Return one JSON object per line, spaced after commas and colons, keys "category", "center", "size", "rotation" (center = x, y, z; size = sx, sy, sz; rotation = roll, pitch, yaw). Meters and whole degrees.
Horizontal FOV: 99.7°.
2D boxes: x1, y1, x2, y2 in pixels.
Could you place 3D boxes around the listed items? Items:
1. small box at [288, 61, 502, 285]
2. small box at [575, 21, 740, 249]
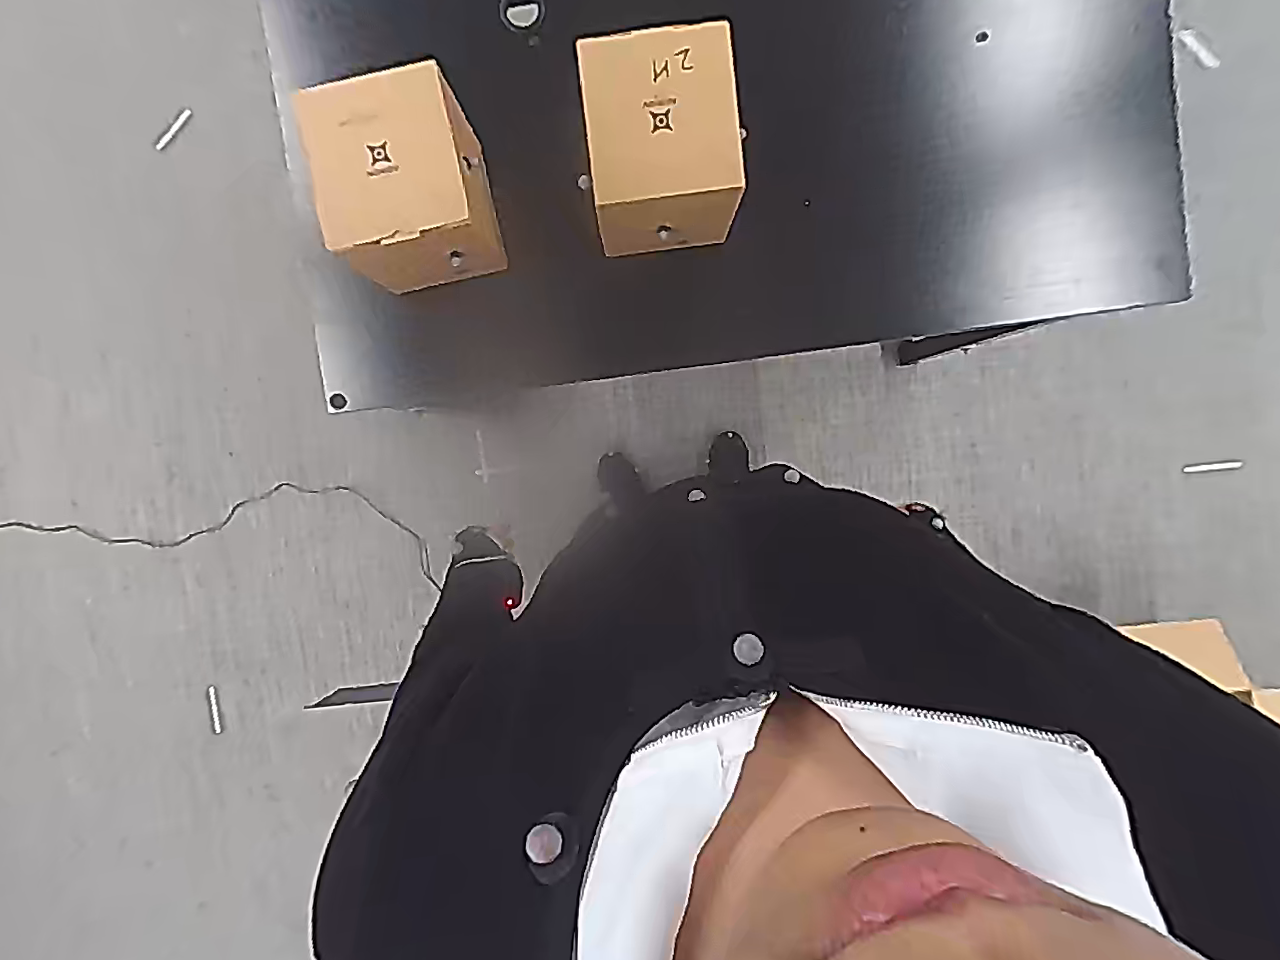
{"category": "small box", "center": [-0.284, -0.356, 0.668], "size": [0.168, 0.176, 0.179], "rotation": [-13, 93, 0]}
{"category": "small box", "center": [0.021, -0.398, 0.659], "size": [0.168, 0.176, 0.179], "rotation": [-7, 94, 1]}
